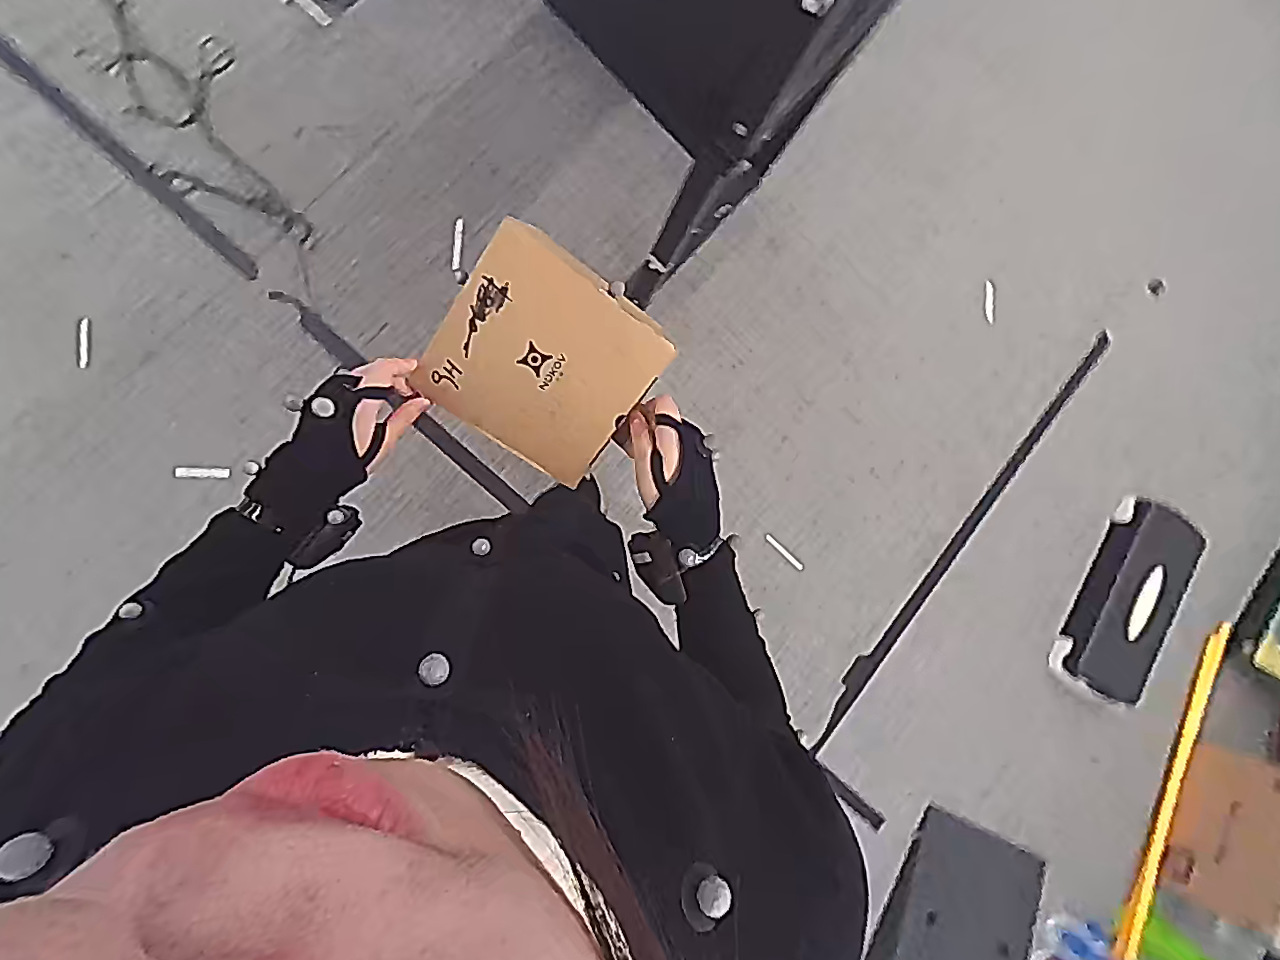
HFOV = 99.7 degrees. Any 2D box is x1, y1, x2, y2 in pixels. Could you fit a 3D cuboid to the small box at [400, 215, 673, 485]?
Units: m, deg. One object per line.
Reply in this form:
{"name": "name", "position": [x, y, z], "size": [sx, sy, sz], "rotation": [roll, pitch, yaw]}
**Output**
{"name": "small box", "position": [-0.092, -0.131, 0.529], "size": [0.179, 0.176, 0.168], "rotation": [33, 106, -16]}
